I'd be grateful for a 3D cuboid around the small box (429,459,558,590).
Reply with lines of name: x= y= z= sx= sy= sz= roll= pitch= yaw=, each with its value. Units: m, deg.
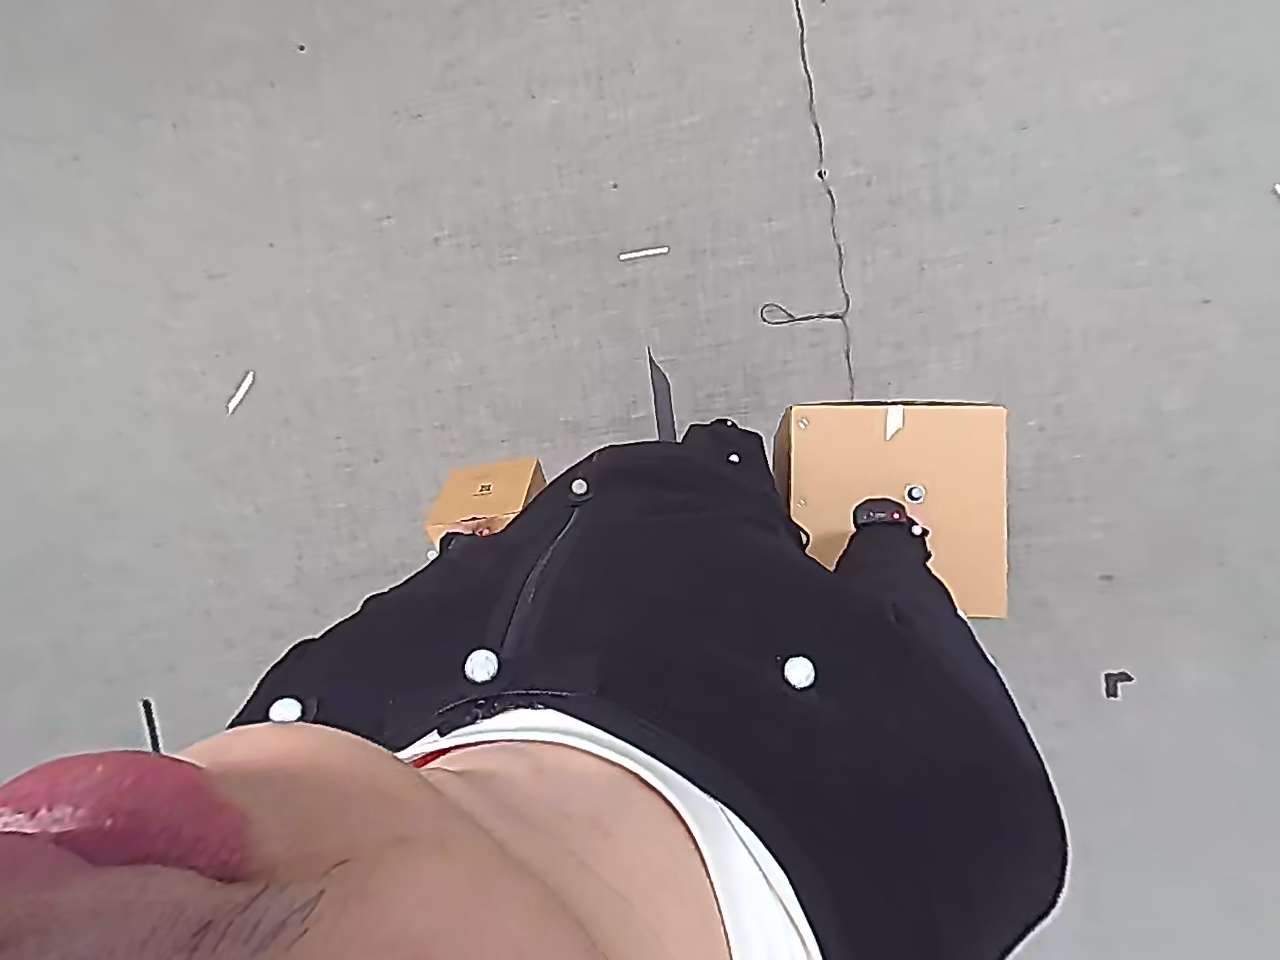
small box: x=-0.255 y=0.087 z=0.994 sx=0.168 sy=0.179 sz=0.176 roll=-8 pitch=123 yaw=5
